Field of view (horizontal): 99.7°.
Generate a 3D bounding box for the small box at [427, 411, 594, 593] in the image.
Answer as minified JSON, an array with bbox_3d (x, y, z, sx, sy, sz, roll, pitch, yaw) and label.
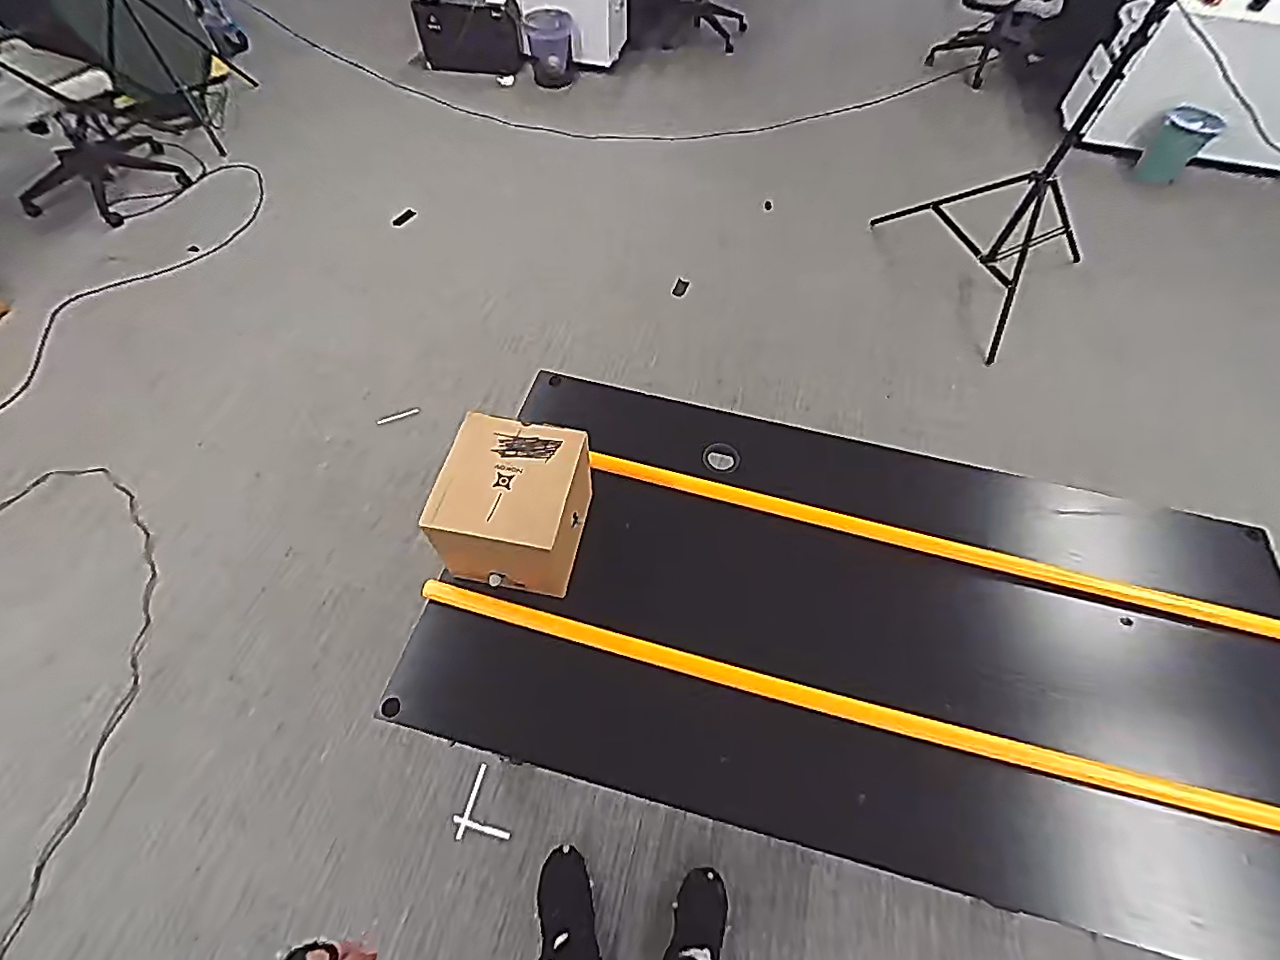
[{"bbox_3d":[-0.161,0.035,0.746,0.168,0.176,0.179,10,59,4],"label":"small box"}]
